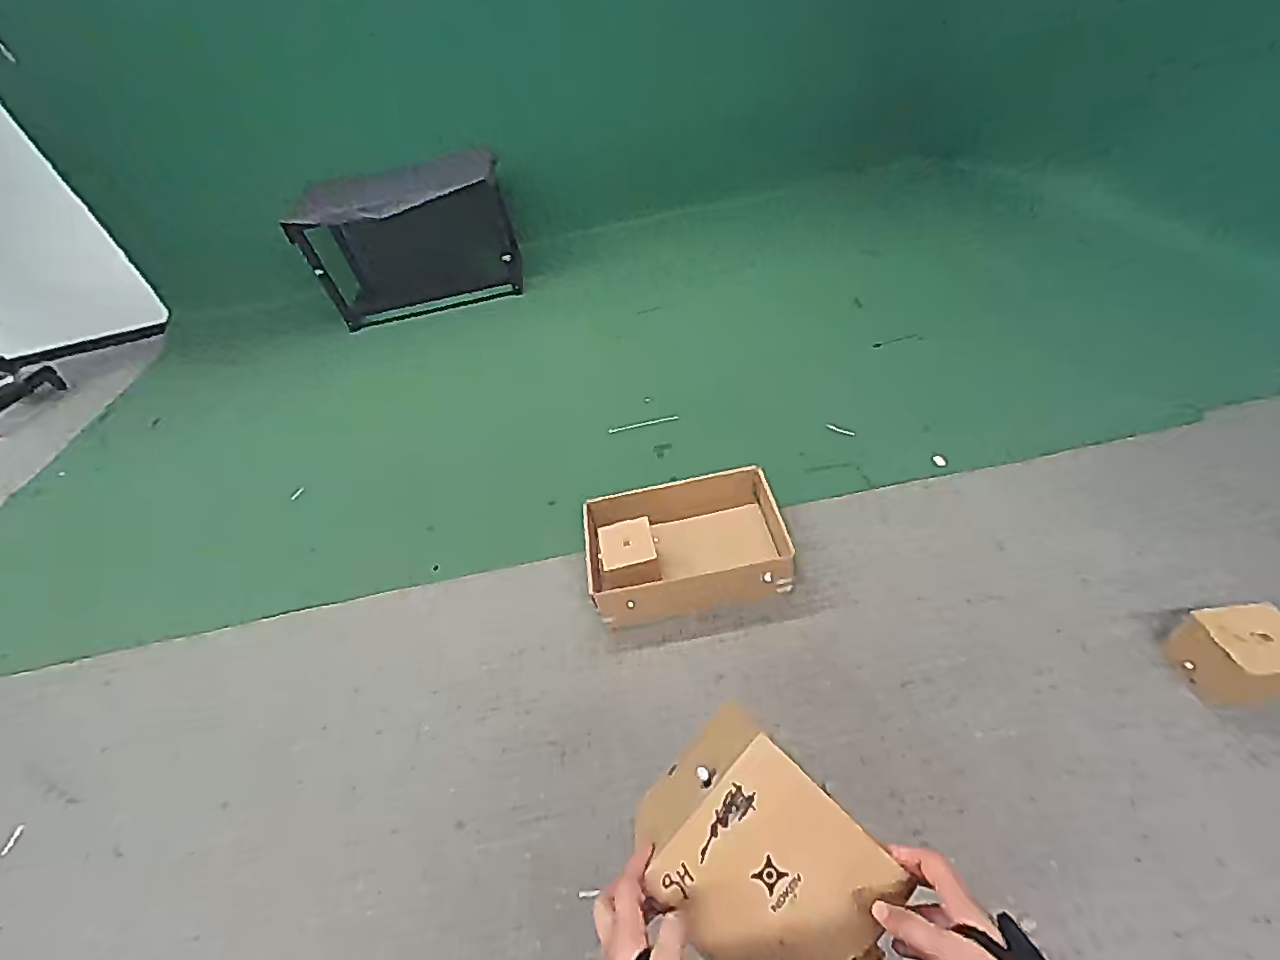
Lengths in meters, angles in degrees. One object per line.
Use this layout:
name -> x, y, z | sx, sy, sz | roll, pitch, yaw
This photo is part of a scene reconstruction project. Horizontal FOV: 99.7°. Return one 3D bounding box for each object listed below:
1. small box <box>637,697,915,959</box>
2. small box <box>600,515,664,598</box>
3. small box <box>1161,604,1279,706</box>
small box -> 0.114, 0.344, 0.529 | 0.179, 0.176, 0.168 | 44, 82, 6
small box -> -0.025, 0.243, 1.710 | 0.168, 0.176, 0.179 | -14, 45, 0
small box -> 1.406, 0.413, 1.270 | 0.179, 0.176, 0.168 | -8, 43, 5
